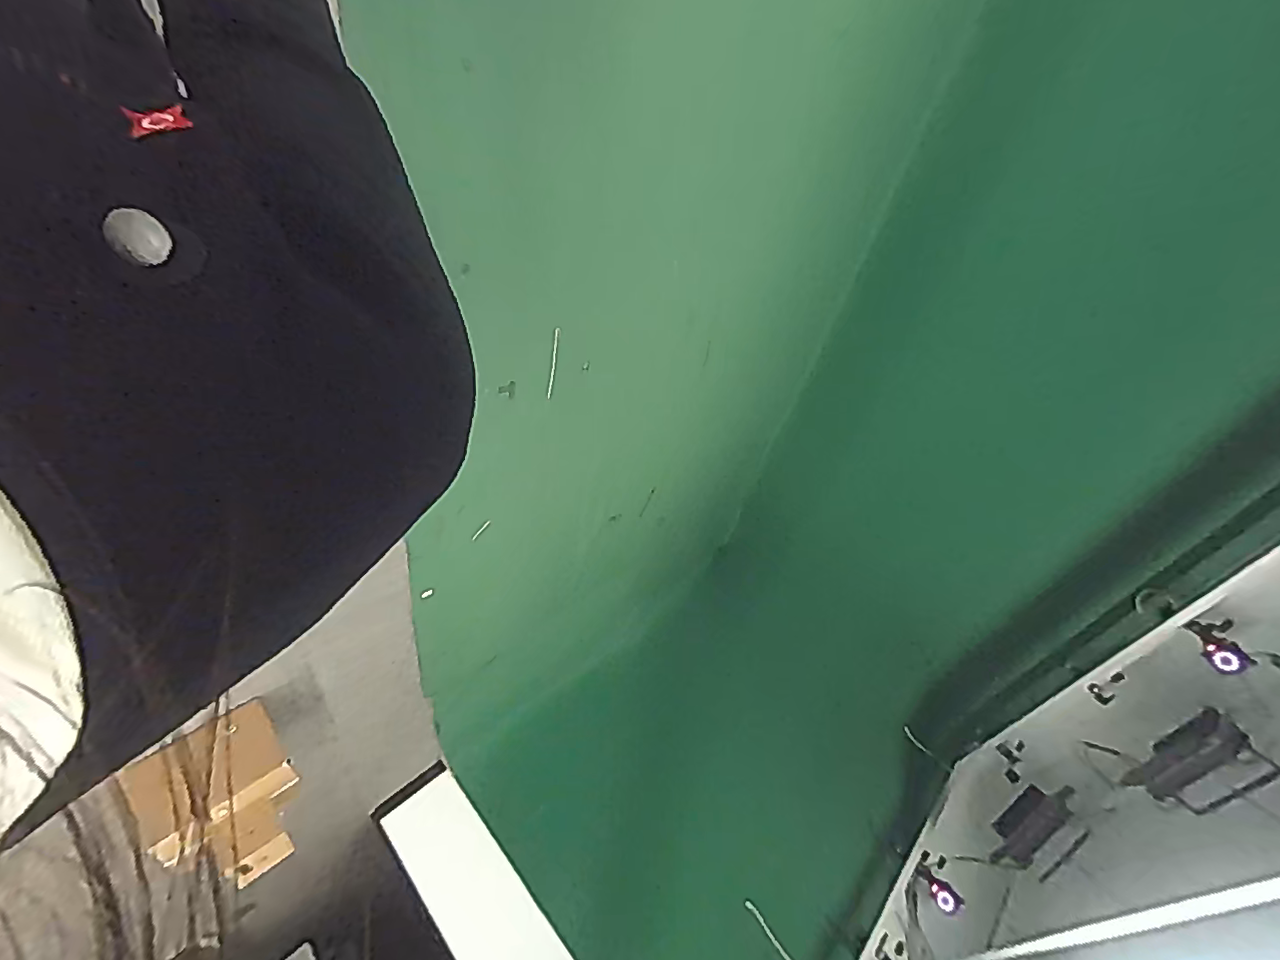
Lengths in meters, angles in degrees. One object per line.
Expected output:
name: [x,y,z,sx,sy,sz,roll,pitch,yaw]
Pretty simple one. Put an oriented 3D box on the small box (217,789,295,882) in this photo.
small box: [-1.339,1.230,1.880,0.179,0.176,0.168,-23,140,-43]
